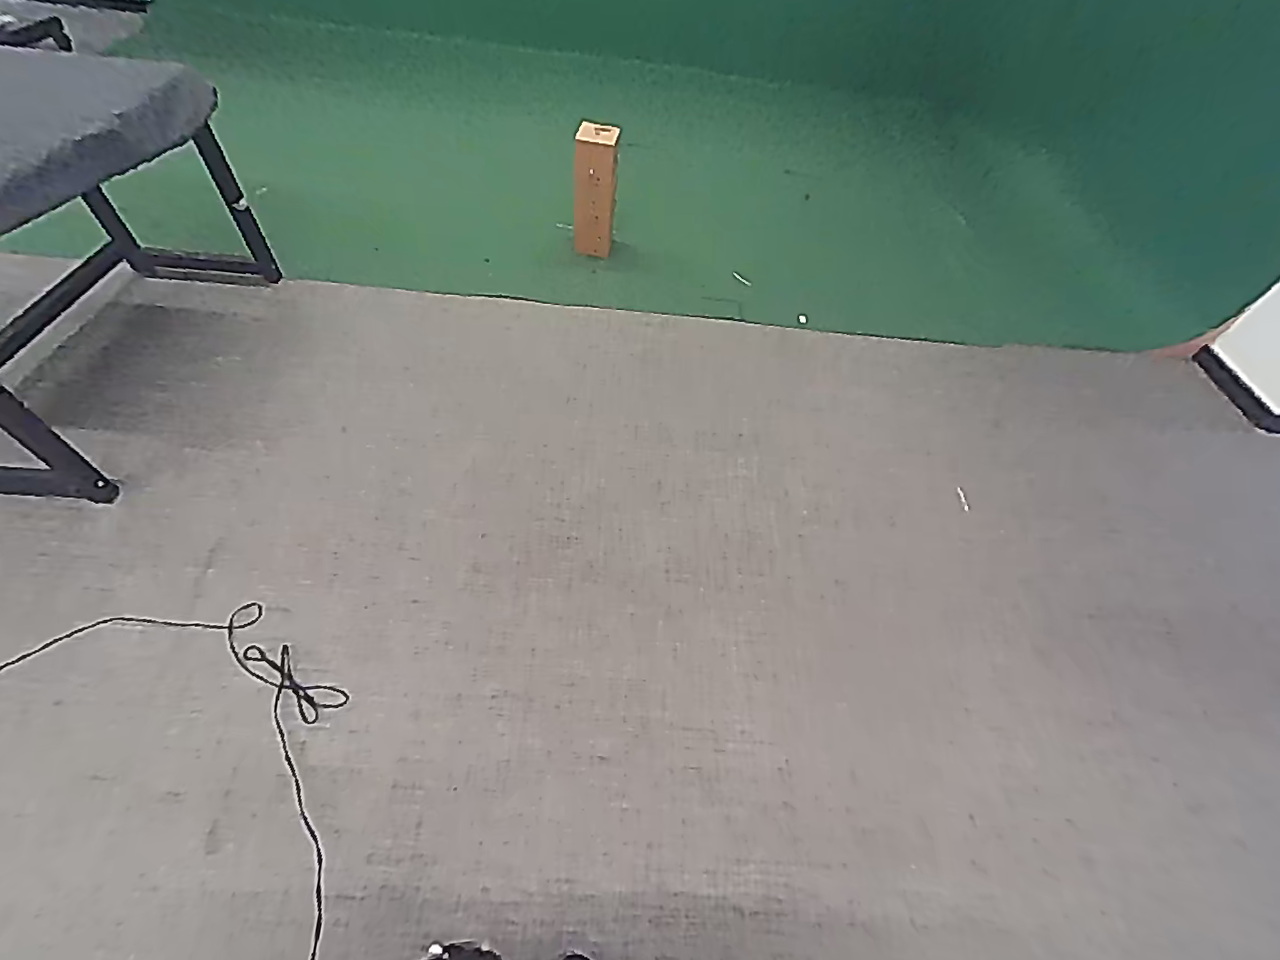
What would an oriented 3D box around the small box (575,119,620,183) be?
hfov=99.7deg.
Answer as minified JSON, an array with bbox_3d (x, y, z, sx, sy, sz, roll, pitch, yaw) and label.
[{"bbox_3d":[-0.184,-1.406,2.312,0.168,0.176,0.179,10,53,0],"label":"small box"}]

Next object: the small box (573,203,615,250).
[{"bbox_3d":[-0.218,-1.213,2.552,0.168,0.176,0.179,11,52,-1],"label":"small box"}]

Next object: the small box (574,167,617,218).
[{"bbox_3d":[-0.199,-1.307,2.444,0.168,0.176,0.179,10,54,-1],"label":"small box"}]
